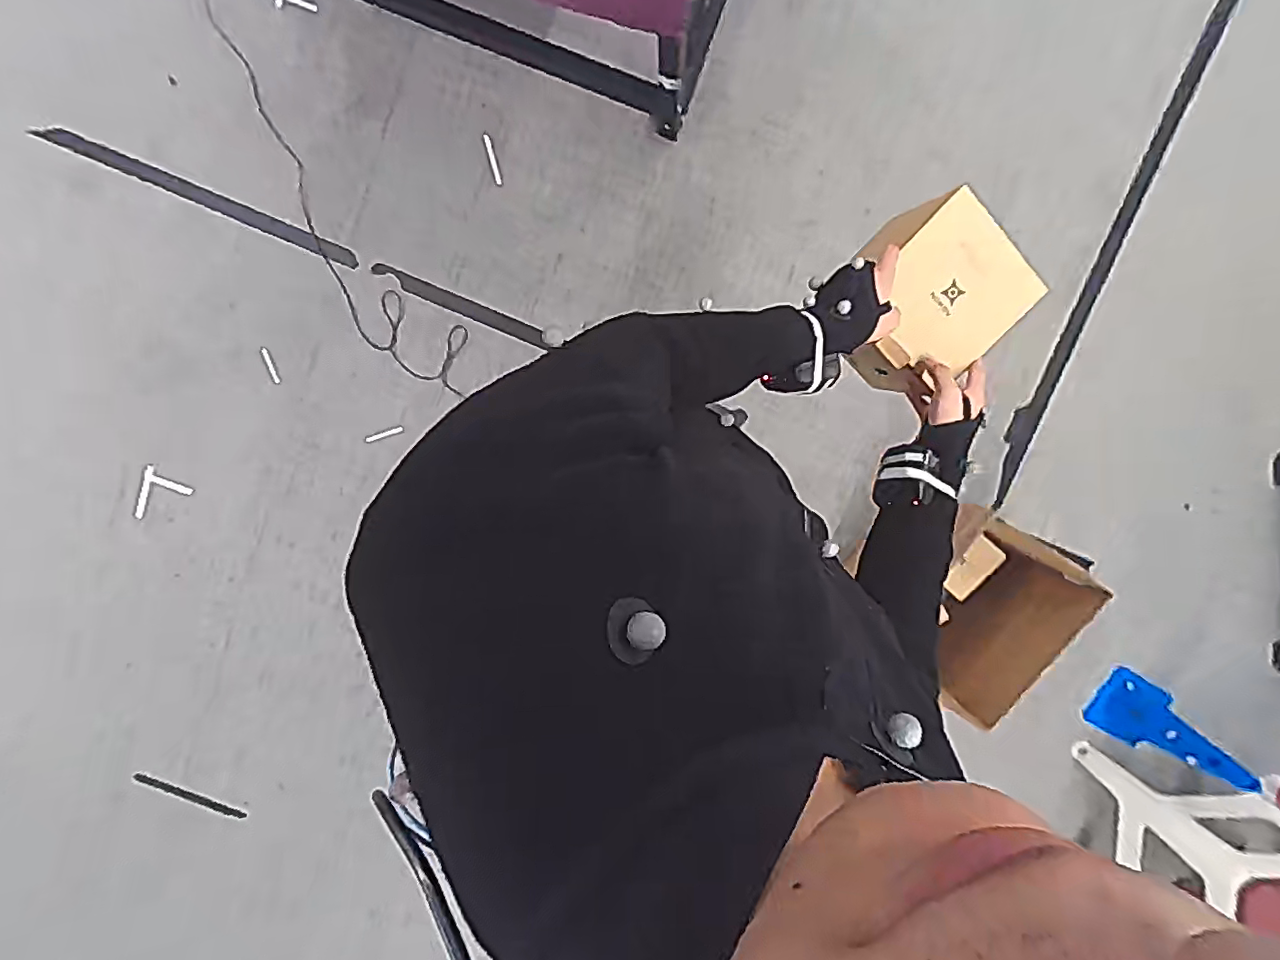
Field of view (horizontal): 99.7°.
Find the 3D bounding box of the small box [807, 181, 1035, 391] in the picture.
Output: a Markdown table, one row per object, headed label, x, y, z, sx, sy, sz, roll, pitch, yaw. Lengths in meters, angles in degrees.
| label | x | y | z | sx | sy | sz | roll | pitch | yaw |
| --- | --- | --- | --- | --- | --- | --- | --- | --- | --- |
| small box | 0.342 | -0.237 | 0.705 | 0.168 | 0.176 | 0.179 | 42 | 97 | -11 |
